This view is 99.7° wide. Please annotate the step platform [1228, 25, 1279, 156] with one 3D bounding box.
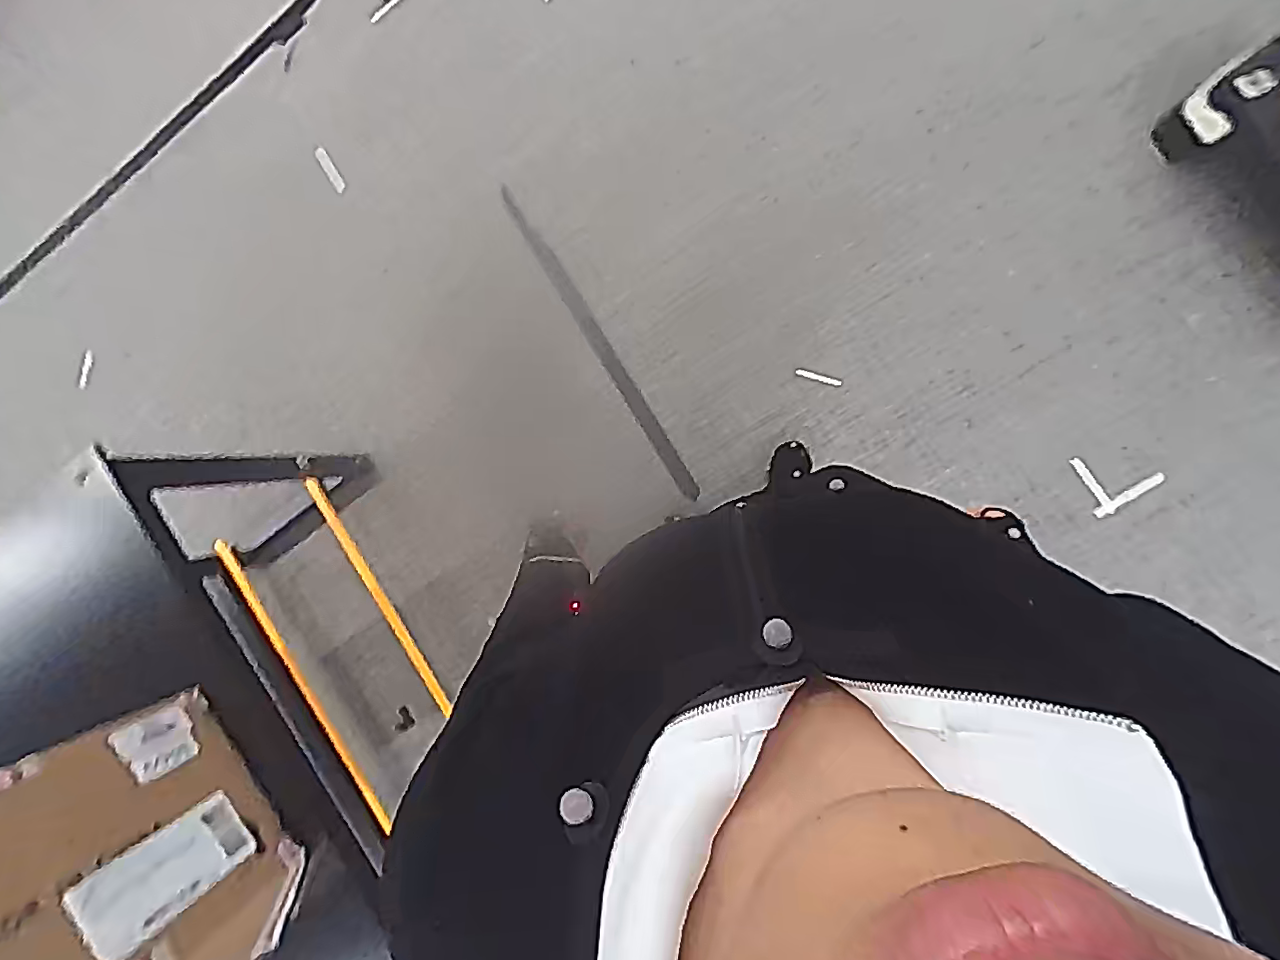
[{"bbox_3d":[1.425,-0.603,0.952,0.286,0.204,0.684,-35,88,8],"label":"step platform"}]
